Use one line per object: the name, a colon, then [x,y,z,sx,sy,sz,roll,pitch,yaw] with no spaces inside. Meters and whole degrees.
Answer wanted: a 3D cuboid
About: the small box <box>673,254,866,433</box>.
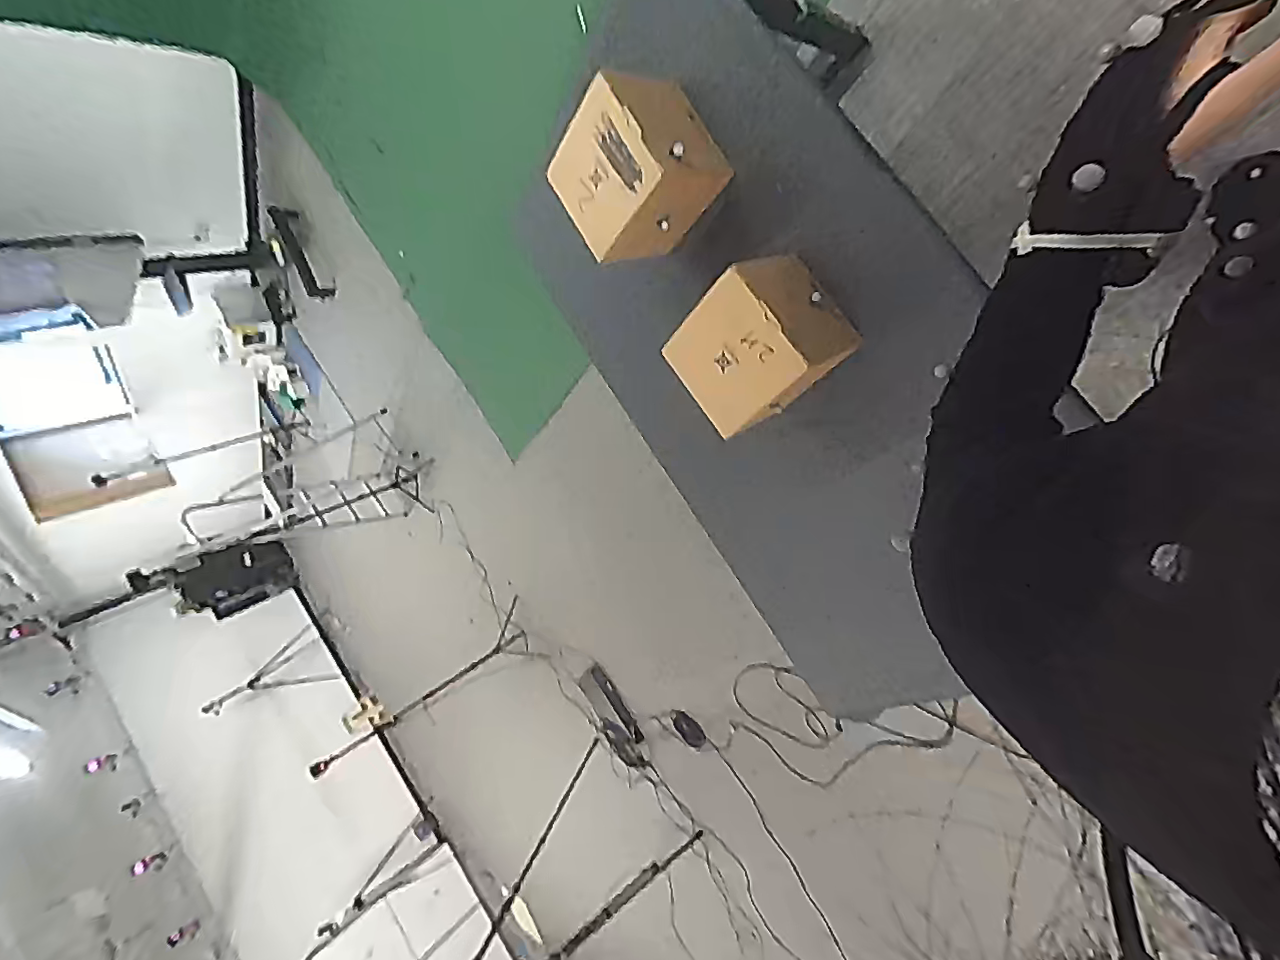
small box: [0.188,-0.199,0.785,0.168,0.176,0.179,55,139,8]
